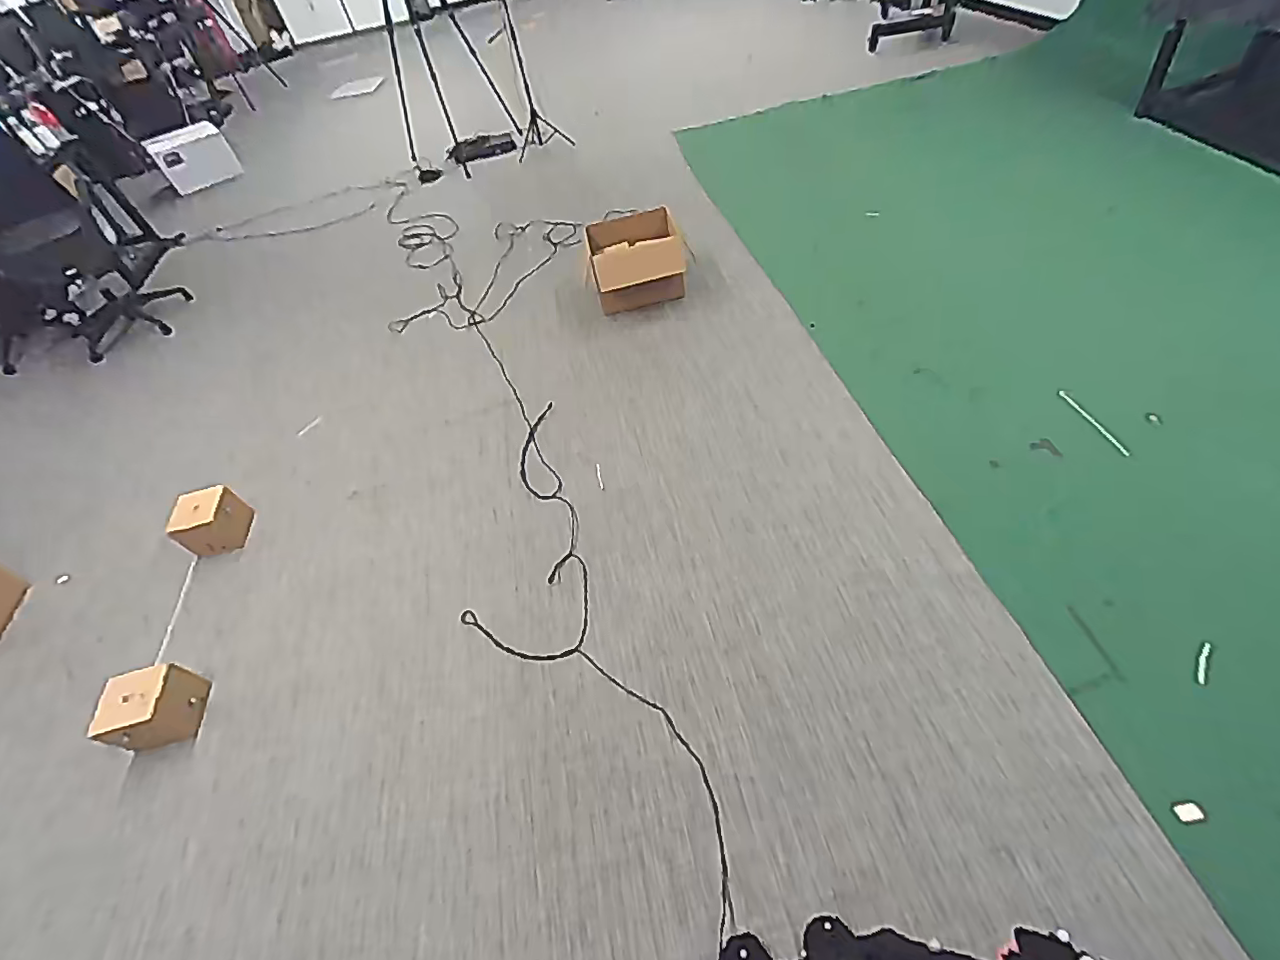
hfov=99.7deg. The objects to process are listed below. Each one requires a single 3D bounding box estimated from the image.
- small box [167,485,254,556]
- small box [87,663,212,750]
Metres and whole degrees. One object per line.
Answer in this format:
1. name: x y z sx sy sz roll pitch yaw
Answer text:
1. small box: -1.561 0.149 1.979 0.168 0.176 0.179 -15 51 -3
2. small box: -1.389 0.652 1.546 0.179 0.176 0.168 -16 51 -2
